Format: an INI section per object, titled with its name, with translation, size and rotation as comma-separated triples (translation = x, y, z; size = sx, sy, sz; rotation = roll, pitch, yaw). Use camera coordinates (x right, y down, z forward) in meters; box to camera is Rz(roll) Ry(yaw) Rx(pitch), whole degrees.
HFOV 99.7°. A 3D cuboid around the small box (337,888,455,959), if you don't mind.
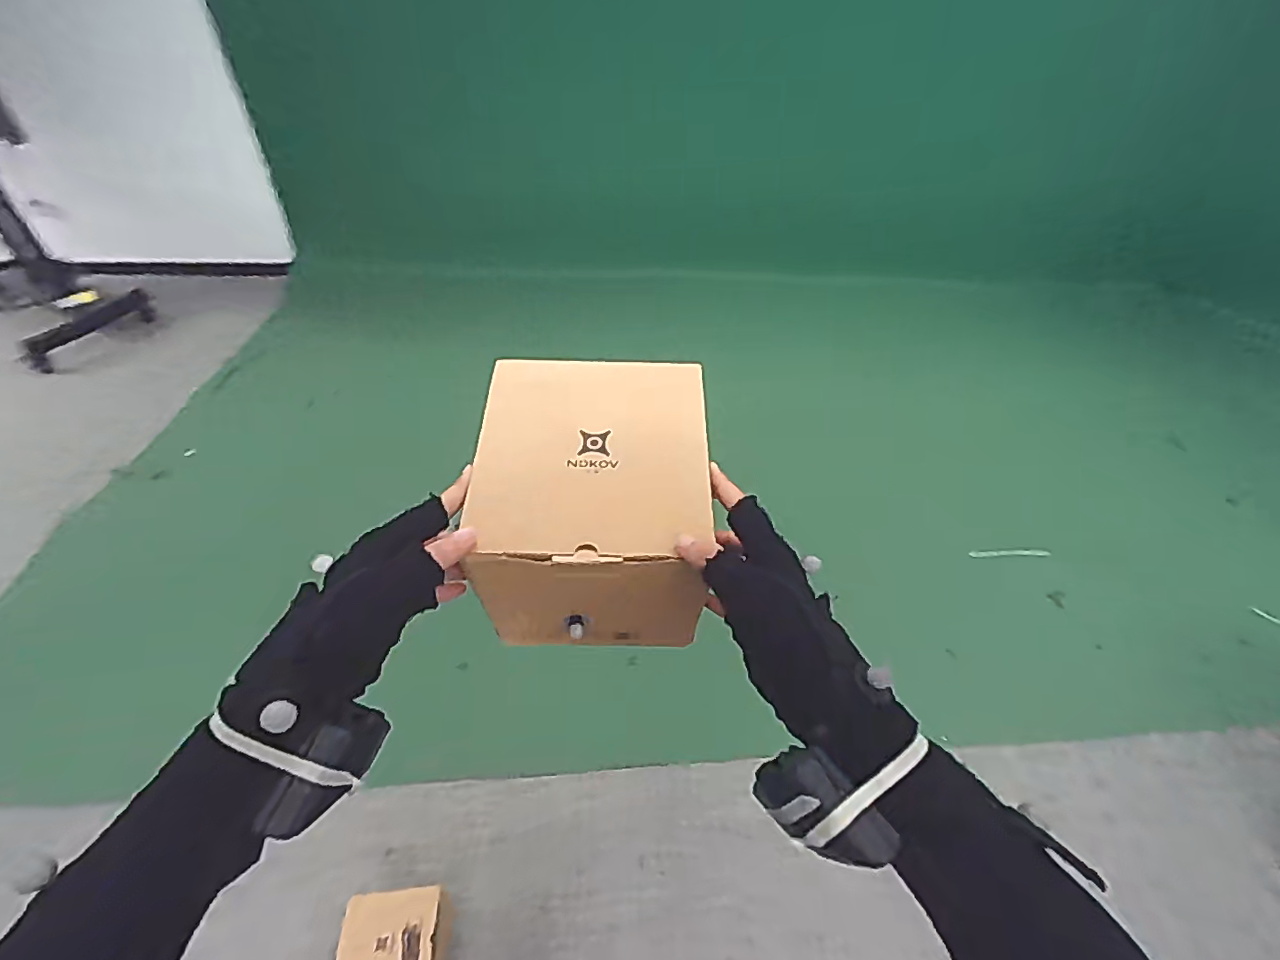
[small box]
translation = -0.469, 0.919, 1.051
size = 0.179, 0.176, 0.168
rotation = -3, 43, -6
